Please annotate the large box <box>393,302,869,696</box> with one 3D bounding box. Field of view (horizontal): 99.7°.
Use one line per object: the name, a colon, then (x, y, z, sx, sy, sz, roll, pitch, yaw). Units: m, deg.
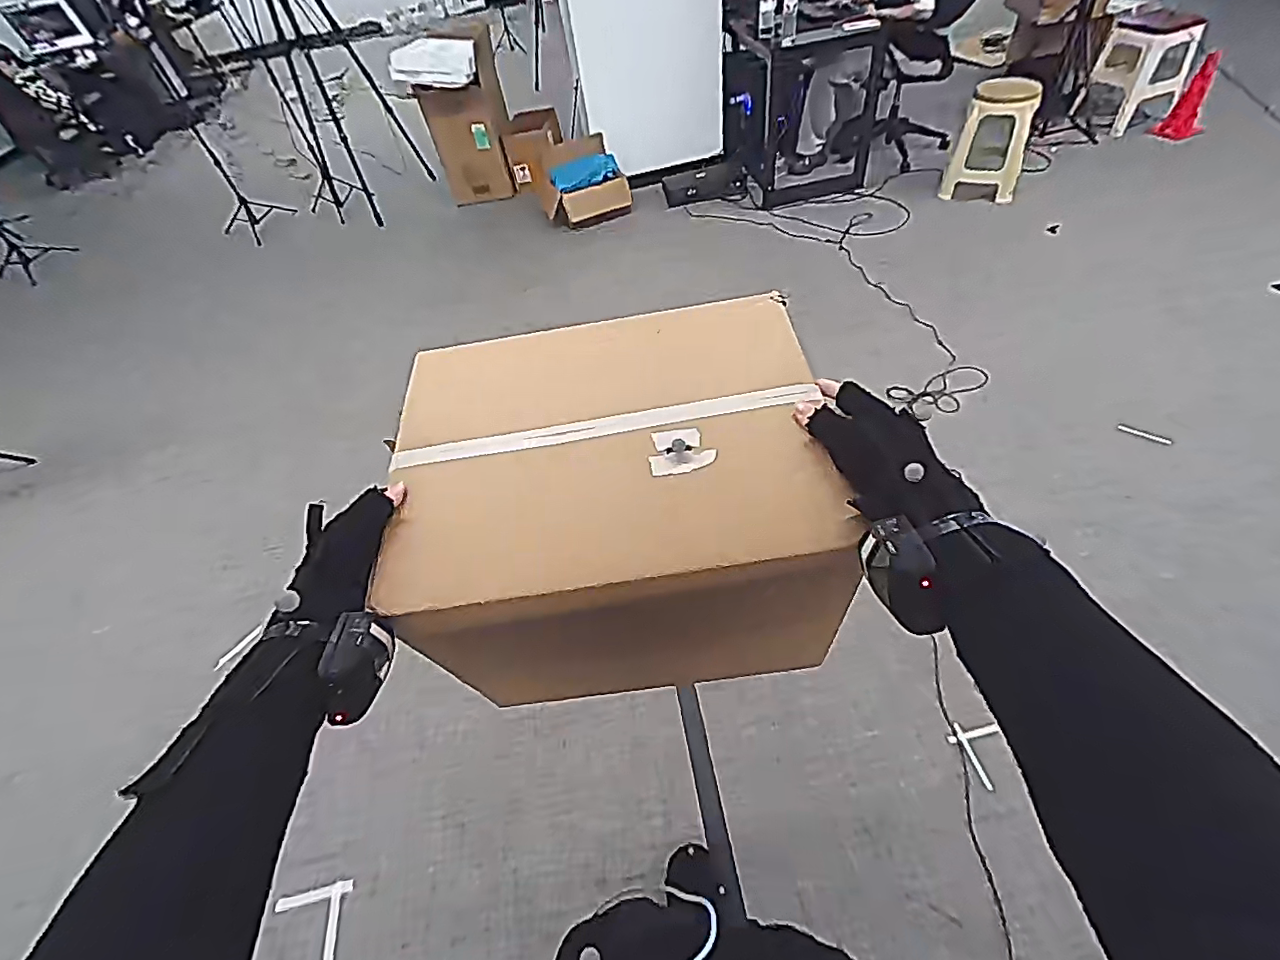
large box: (-0.010, 0.038, 0.644, 0.408, 0.320, 0.320, -8, 55, 2)
